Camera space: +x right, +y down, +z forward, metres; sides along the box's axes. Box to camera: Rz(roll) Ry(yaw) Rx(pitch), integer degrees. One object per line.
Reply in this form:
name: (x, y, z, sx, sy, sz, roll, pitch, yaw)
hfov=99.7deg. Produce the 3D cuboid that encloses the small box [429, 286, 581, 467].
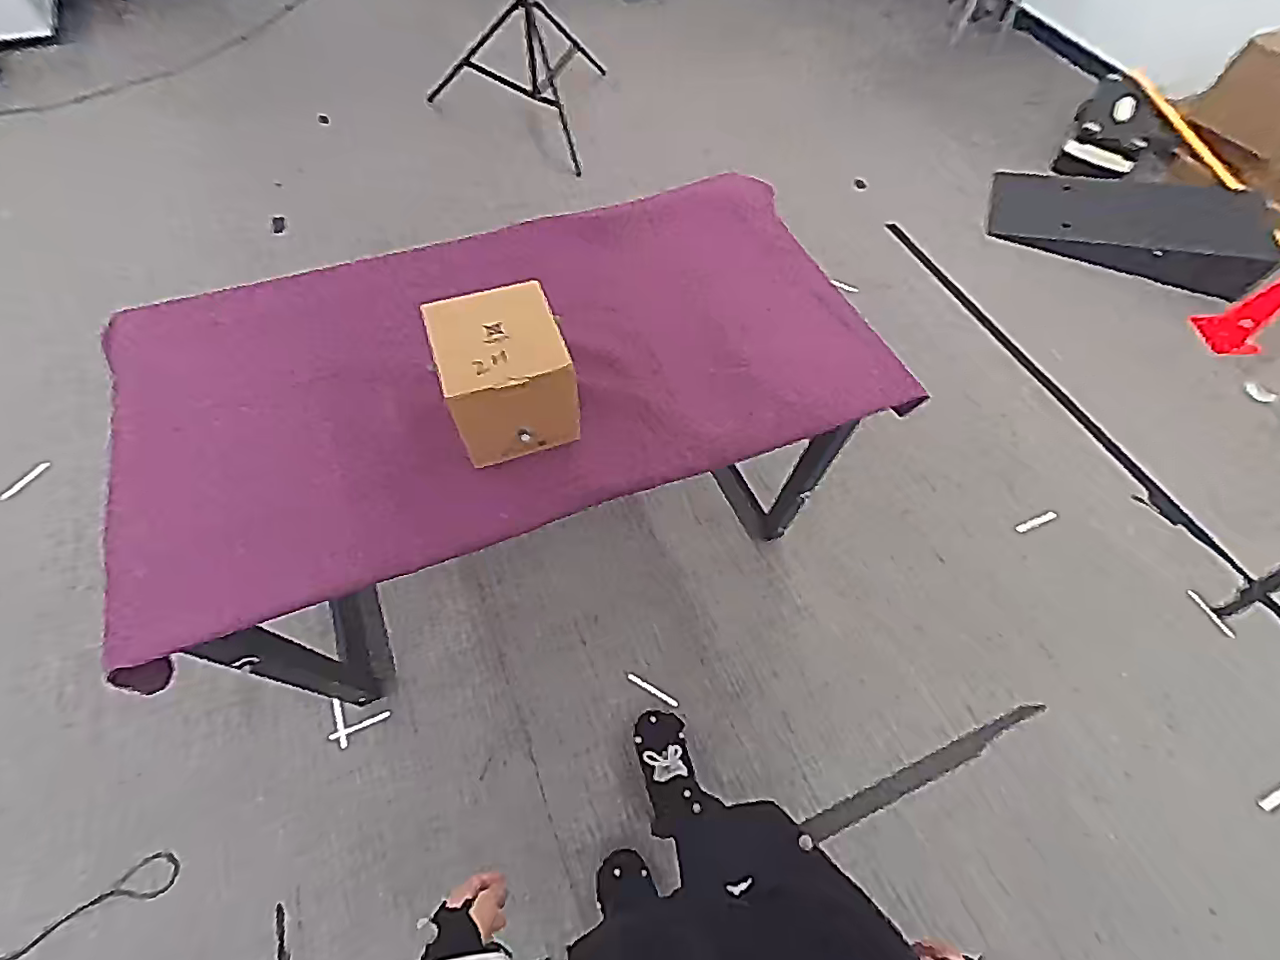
small box: (-0.191, -0.147, 0.790, 0.168, 0.176, 0.179, -17, 62, -12)
